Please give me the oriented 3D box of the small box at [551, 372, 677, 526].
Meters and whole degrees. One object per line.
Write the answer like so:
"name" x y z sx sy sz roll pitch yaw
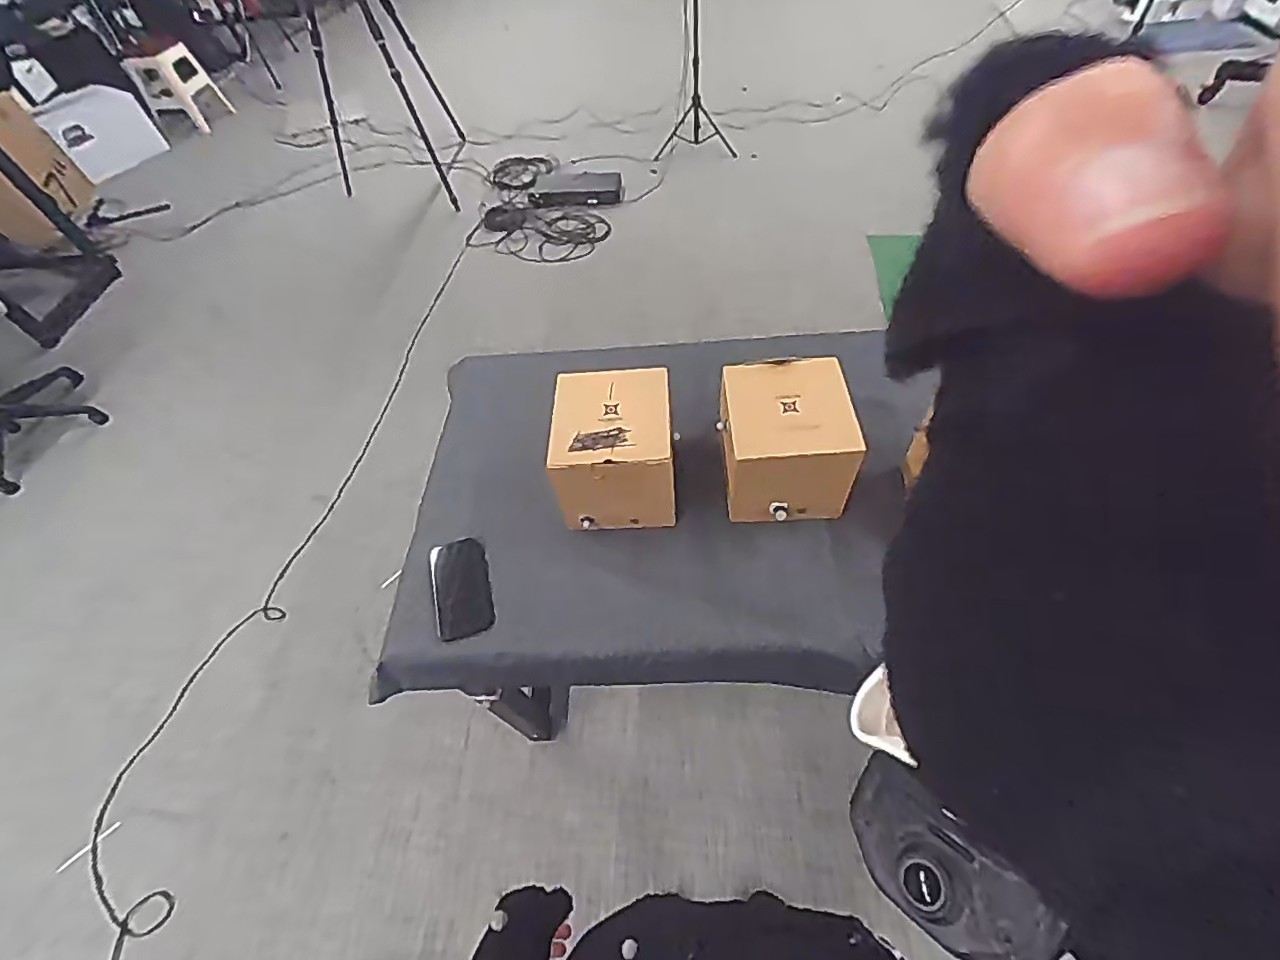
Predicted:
"small box" -0.030 -0.039 0.823 0.168 0.176 0.179 -3 53 4

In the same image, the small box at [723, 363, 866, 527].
"small box" 0.215 -0.049 0.809 0.168 0.176 0.179 -4 55 4
